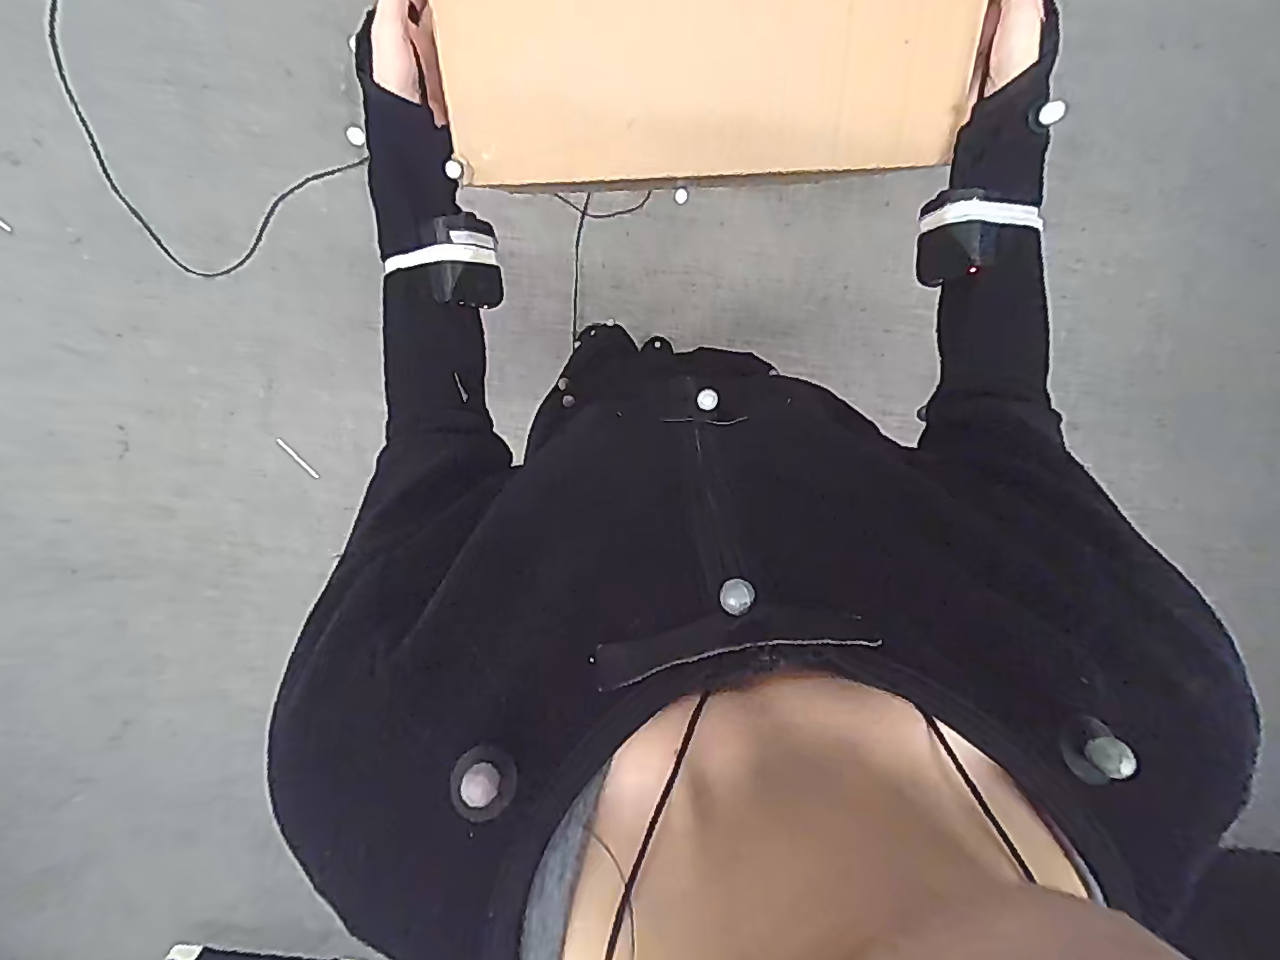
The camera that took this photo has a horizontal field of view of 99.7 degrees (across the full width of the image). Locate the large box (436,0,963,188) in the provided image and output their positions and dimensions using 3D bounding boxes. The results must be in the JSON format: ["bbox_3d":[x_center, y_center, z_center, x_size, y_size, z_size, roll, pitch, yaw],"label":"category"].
[{"bbox_3d":[0.038,-0.463,0.510,0.408,0.320,0.320,-5,116,-3],"label":"large box"}]
